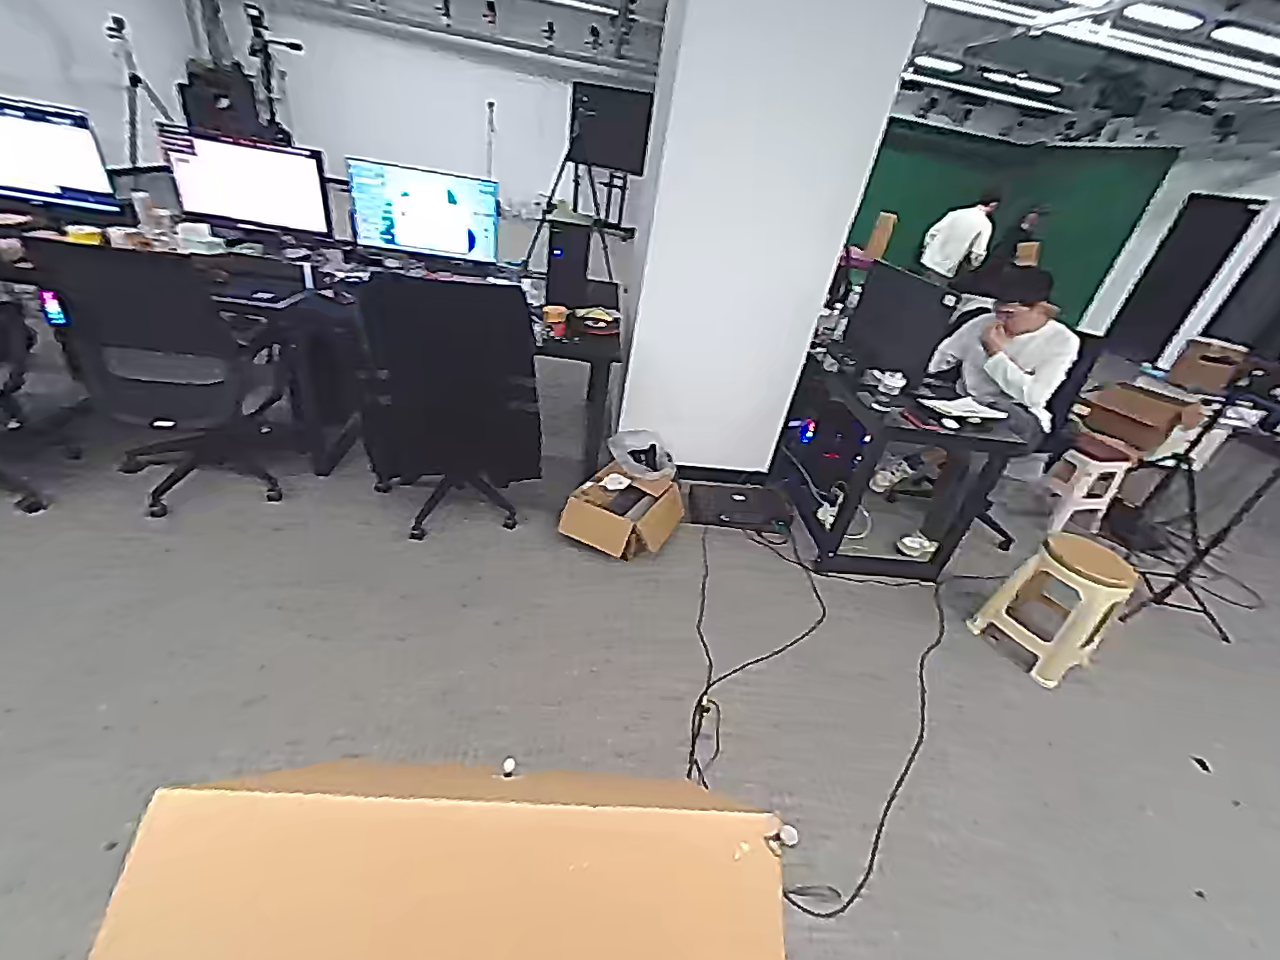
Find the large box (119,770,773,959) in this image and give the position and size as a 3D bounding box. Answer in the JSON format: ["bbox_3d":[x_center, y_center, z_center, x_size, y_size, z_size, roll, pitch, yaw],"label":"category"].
[{"bbox_3d":[-0.132,0.421,0.441,0.408,0.320,0.320,6,66,-6],"label":"large box"}]
